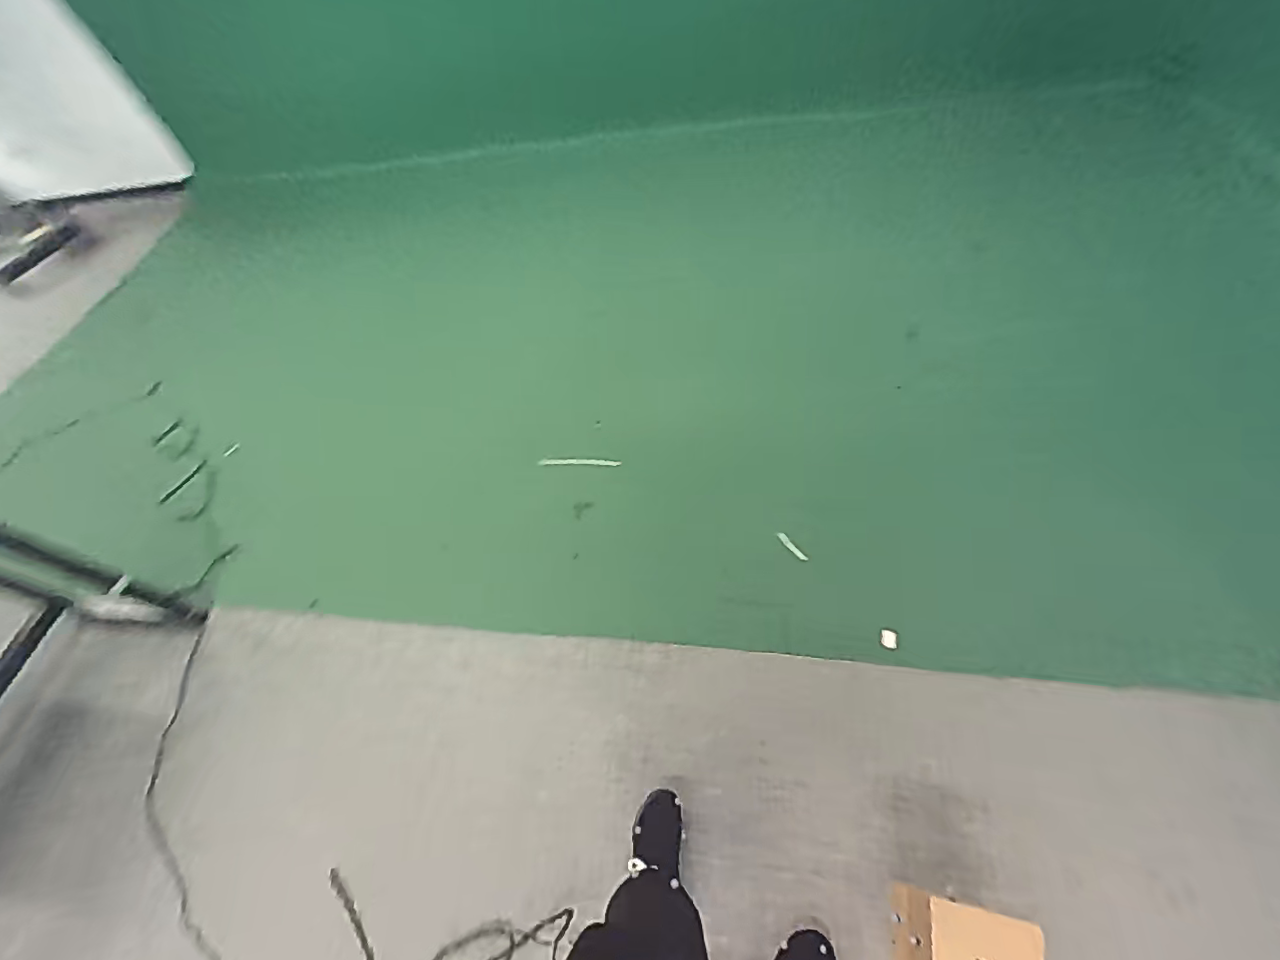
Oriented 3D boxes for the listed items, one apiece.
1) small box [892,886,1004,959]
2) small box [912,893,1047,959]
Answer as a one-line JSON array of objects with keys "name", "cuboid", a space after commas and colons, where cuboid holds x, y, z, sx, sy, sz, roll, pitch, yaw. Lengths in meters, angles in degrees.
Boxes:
[{"name": "small box", "cuboid": [0.617, 0.943, 1.092, 0.179, 0.176, 0.168, 6, 58, 14]}, {"name": "small box", "cuboid": [0.589, 0.856, 0.954, 0.179, 0.176, 0.168, 7, 59, 15]}]
